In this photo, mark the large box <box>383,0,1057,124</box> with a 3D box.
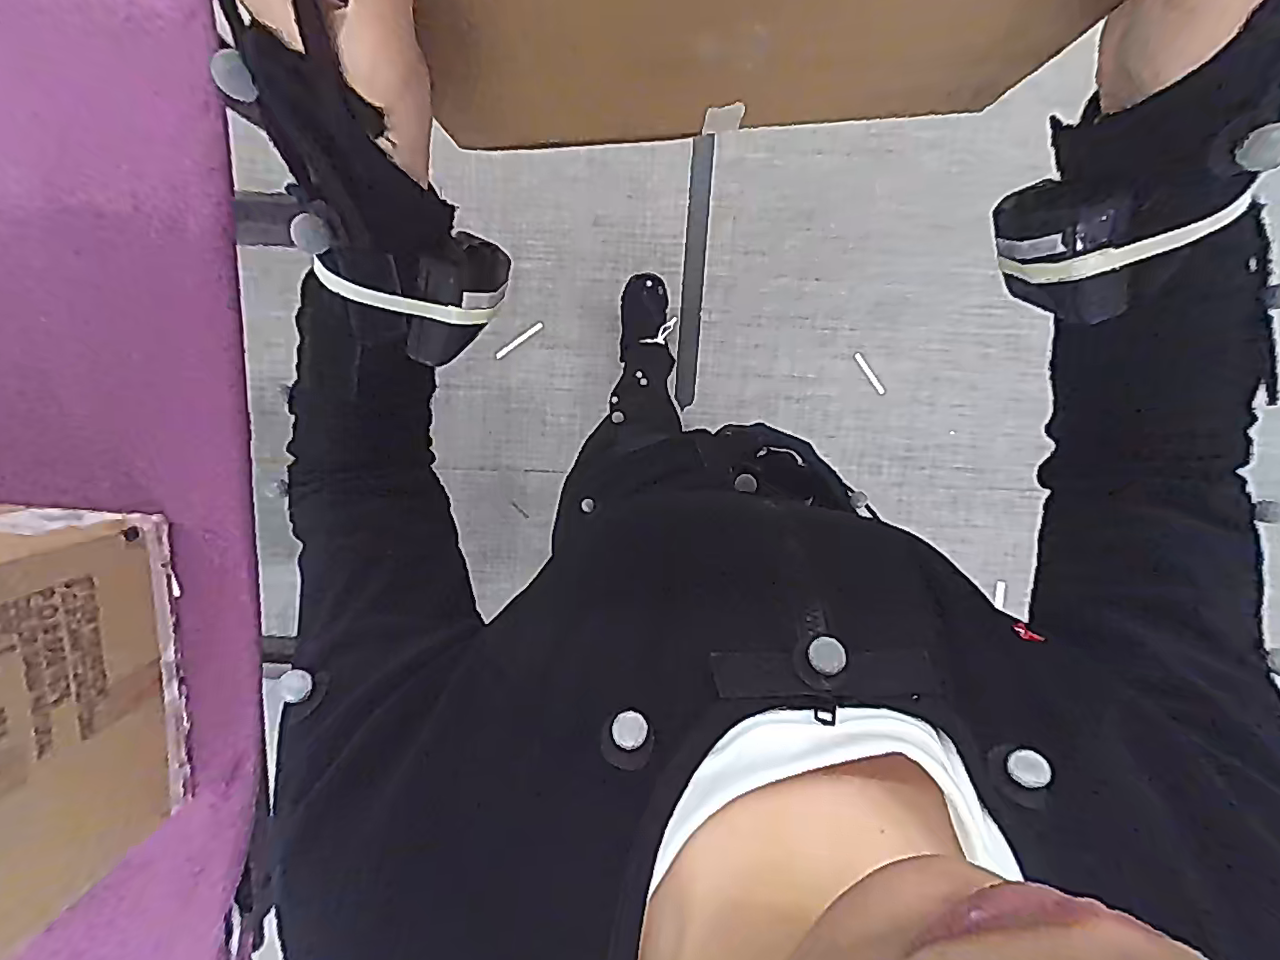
[{"bbox_3d":[0.028,-0.385,0.134,0.320,0.320,0.408,-4,101,3],"label":"large box"}]
